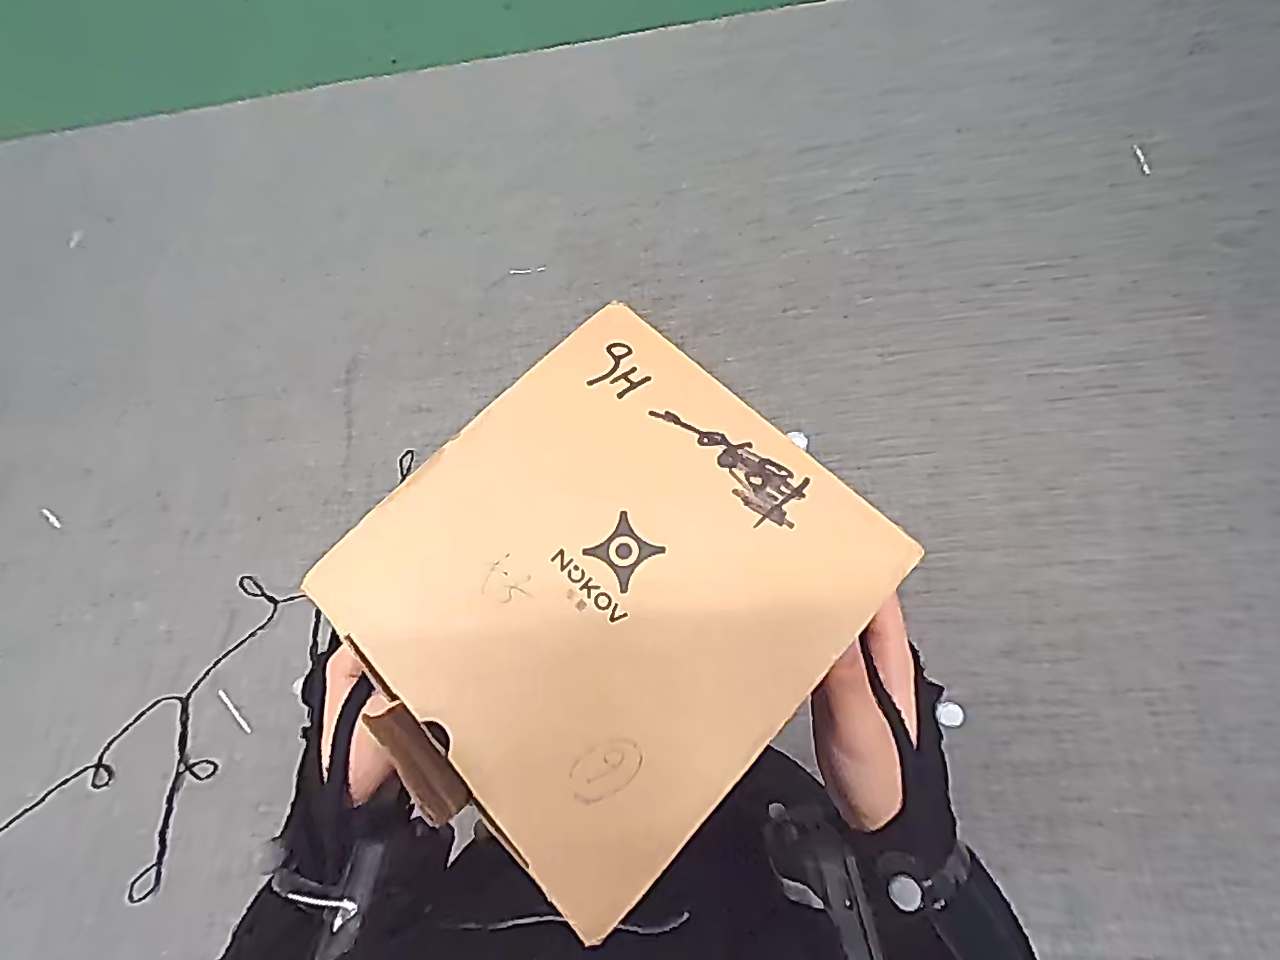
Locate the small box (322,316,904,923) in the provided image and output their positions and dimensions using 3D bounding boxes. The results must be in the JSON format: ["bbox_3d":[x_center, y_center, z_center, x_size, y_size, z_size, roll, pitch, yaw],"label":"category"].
[{"bbox_3d":[-0.008,0.060,0.287,0.179,0.176,0.168,-44,75,-10],"label":"small box"}]
